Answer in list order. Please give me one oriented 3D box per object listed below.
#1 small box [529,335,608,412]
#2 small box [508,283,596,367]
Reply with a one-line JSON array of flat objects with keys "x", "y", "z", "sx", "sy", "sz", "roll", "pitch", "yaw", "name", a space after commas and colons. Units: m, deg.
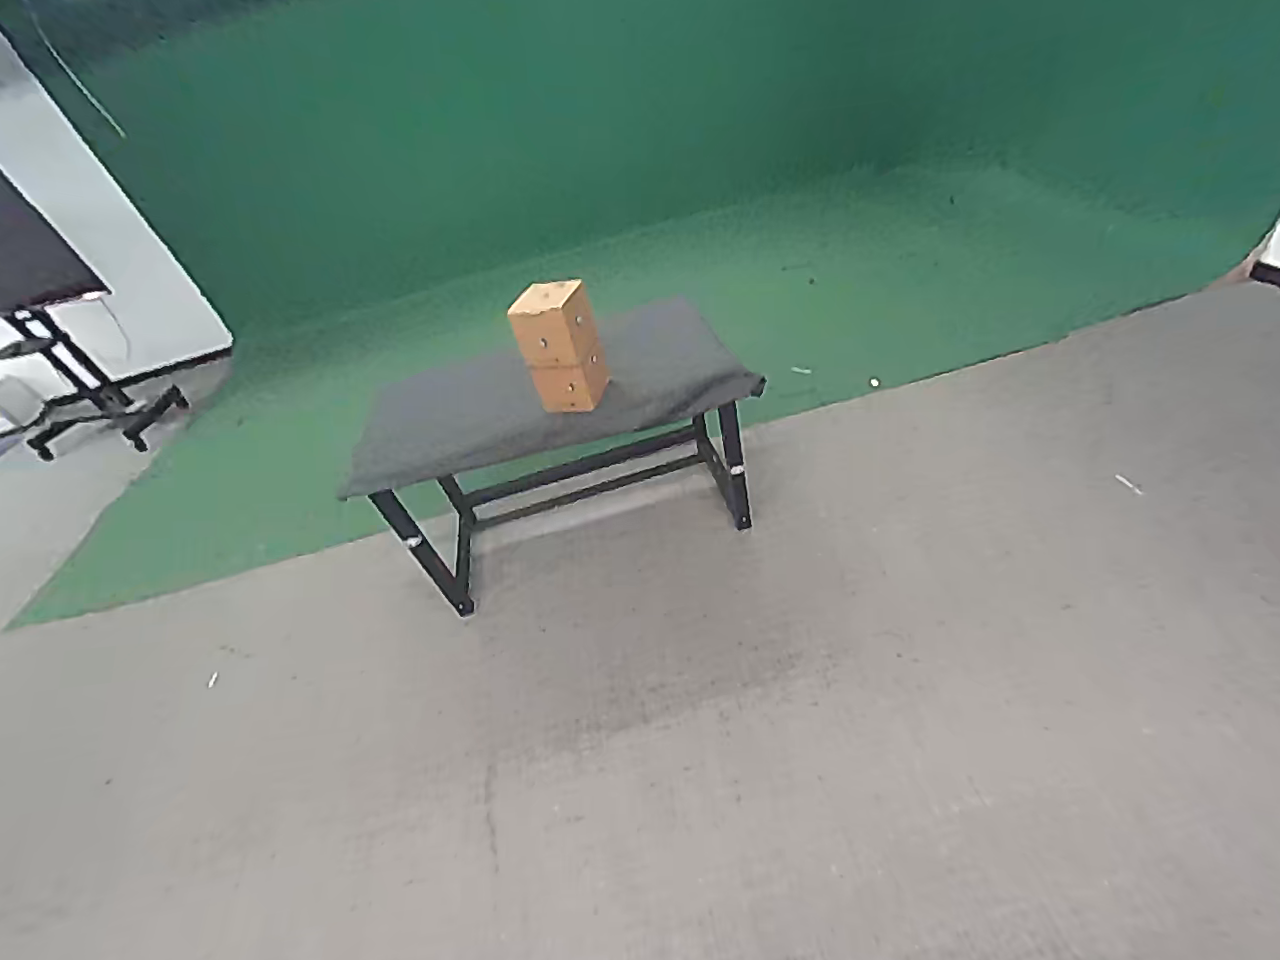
[{"x": -0.207, "y": -0.318, "z": 1.636, "sx": 0.168, "sy": 0.176, "sz": 0.179, "roll": 1, "pitch": 42, "yaw": 18, "name": "small box"}, {"x": -0.238, "y": -0.431, "z": 1.520, "sx": 0.168, "sy": 0.176, "sz": 0.179, "roll": 2, "pitch": 45, "yaw": 19, "name": "small box"}]
